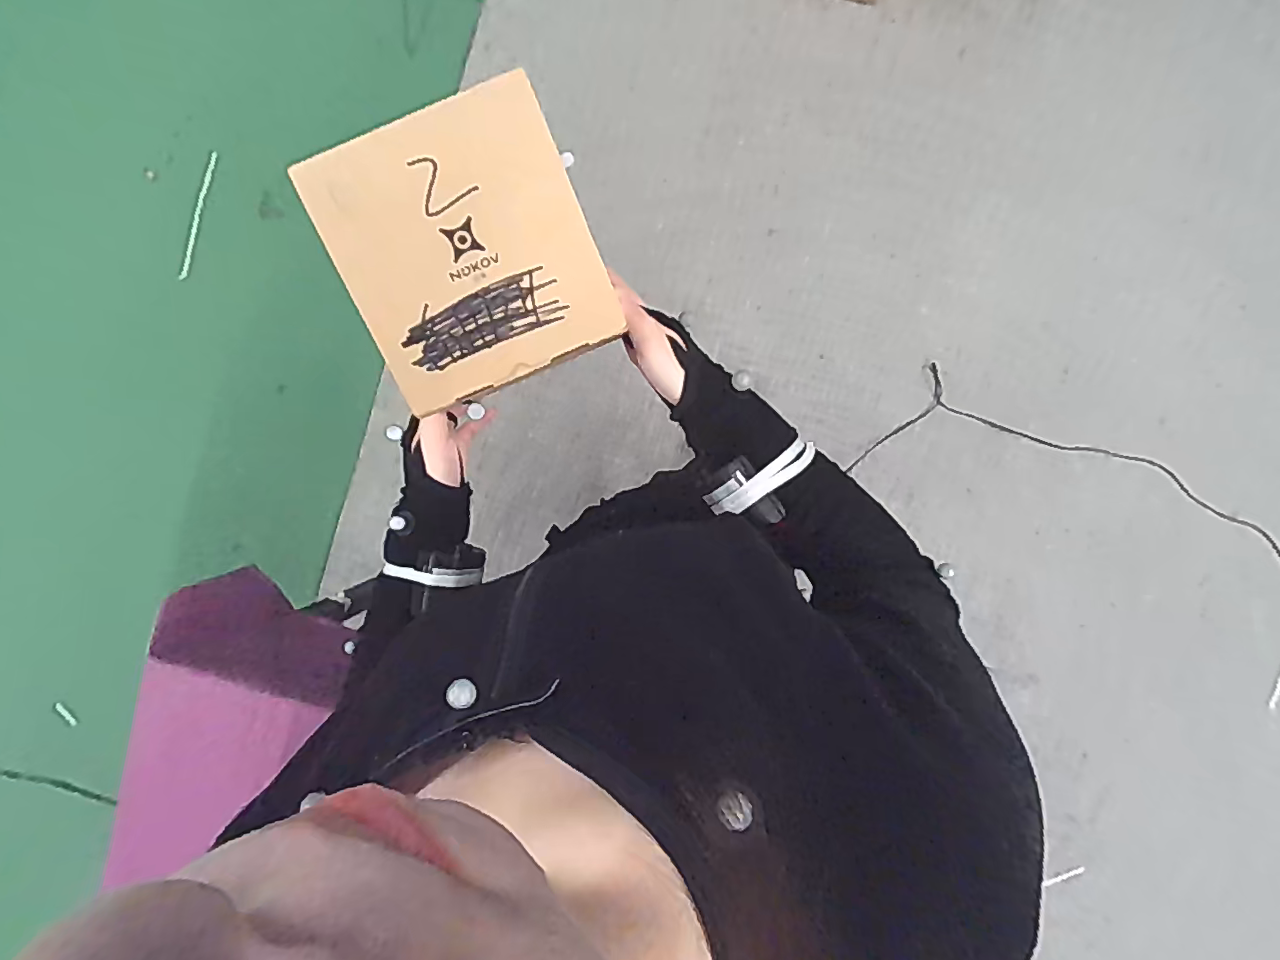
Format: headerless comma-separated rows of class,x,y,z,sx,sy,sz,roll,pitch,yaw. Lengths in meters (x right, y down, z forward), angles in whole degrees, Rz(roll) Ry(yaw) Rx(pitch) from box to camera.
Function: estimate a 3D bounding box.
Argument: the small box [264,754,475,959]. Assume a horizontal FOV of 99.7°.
small box,-0.356,0.511,0.741,0.179,0.176,0.168,18,95,3
